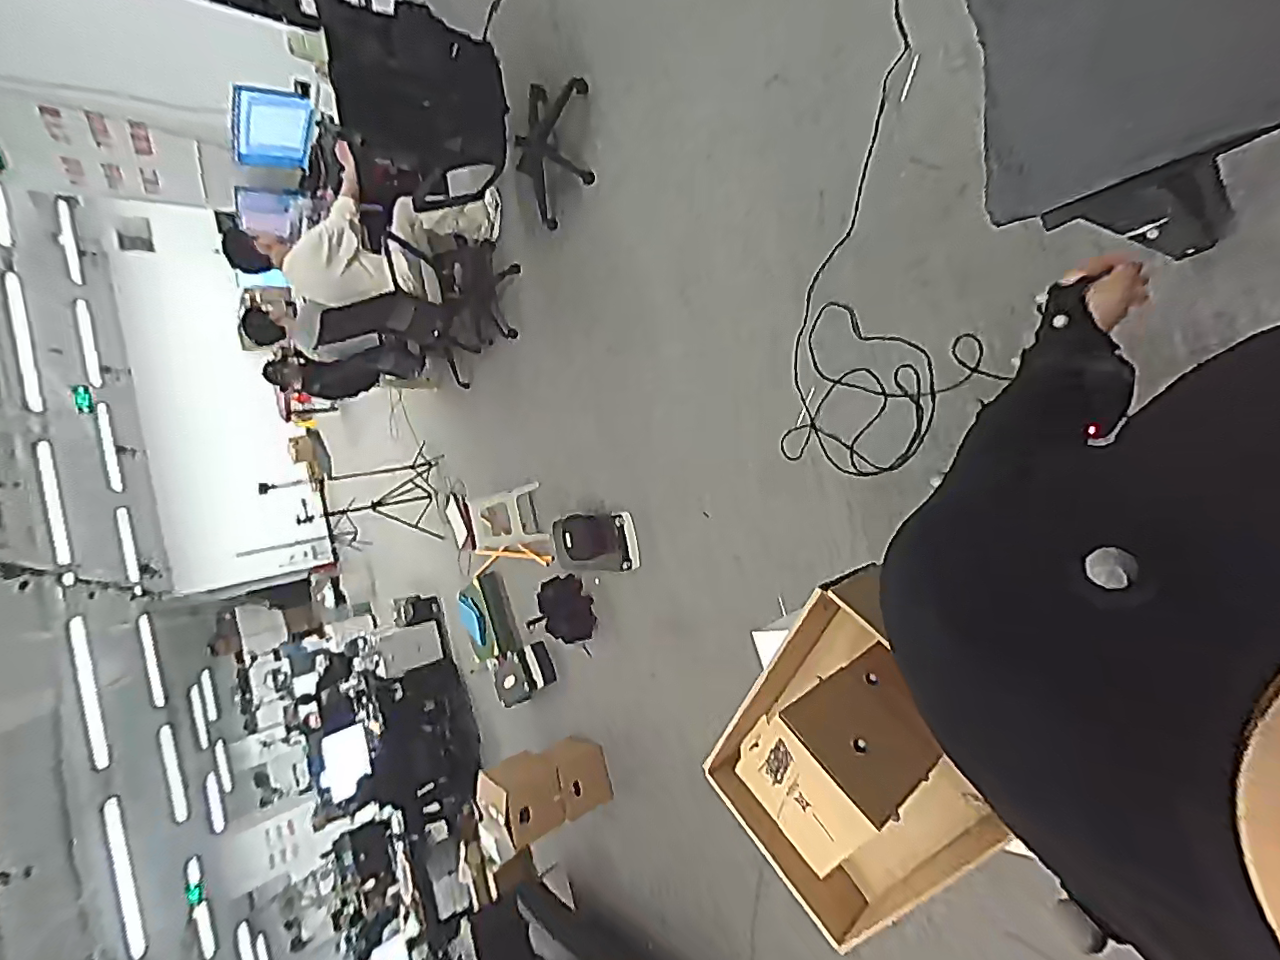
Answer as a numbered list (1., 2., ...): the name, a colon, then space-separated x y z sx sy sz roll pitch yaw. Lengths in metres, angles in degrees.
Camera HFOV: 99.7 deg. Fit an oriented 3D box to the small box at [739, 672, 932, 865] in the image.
1. small box: 0.287 0.415 0.809 0.179 0.176 0.168 46 134 33
